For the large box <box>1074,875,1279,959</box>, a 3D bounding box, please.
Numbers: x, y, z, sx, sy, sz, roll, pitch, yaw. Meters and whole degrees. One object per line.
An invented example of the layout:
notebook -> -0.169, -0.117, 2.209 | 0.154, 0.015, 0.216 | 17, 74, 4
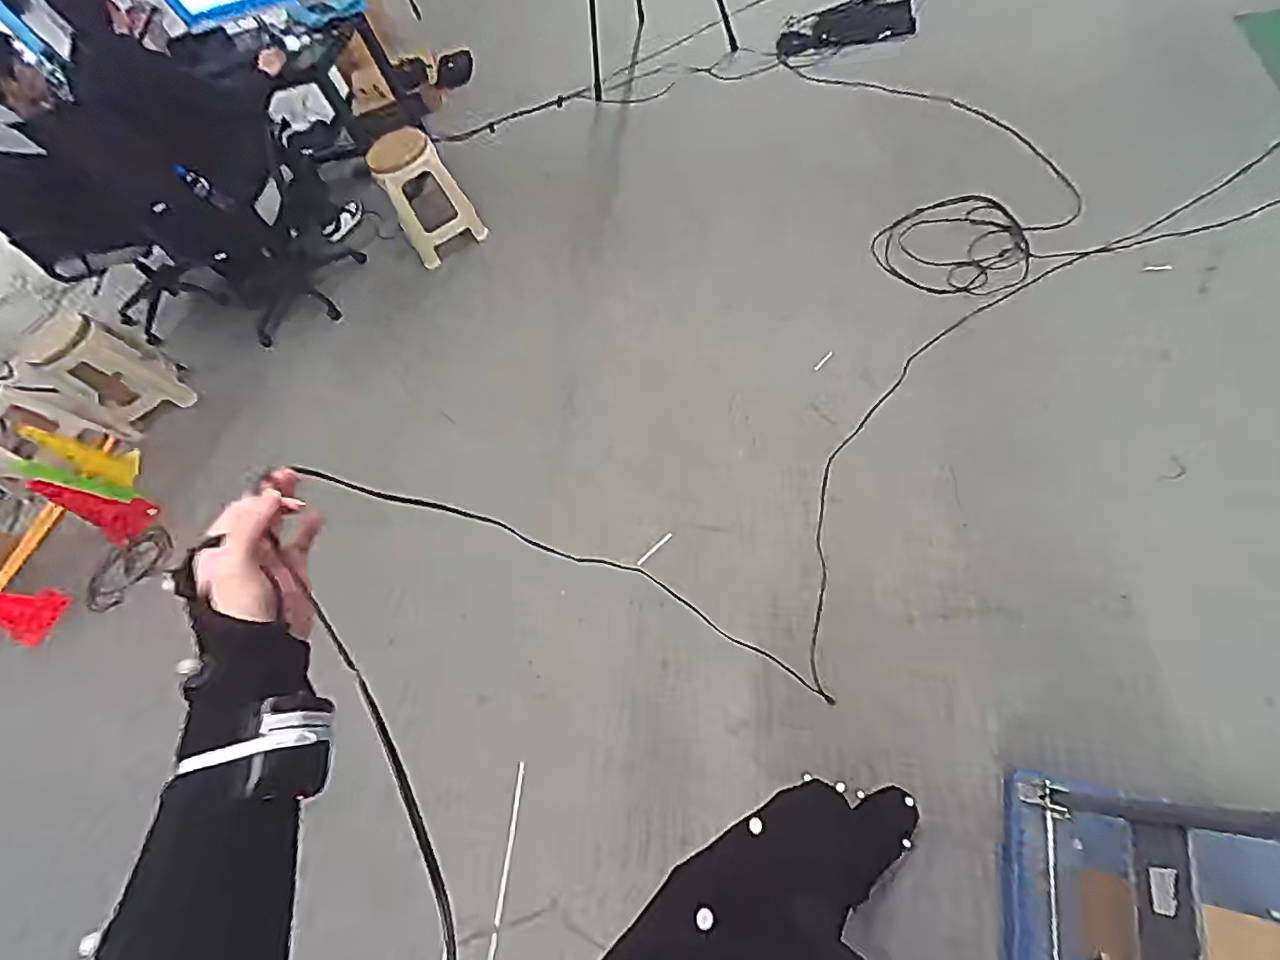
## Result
large box -> 0.917, 0.803, 0.747 | 0.408, 0.320, 0.320 | 7, 64, 18
